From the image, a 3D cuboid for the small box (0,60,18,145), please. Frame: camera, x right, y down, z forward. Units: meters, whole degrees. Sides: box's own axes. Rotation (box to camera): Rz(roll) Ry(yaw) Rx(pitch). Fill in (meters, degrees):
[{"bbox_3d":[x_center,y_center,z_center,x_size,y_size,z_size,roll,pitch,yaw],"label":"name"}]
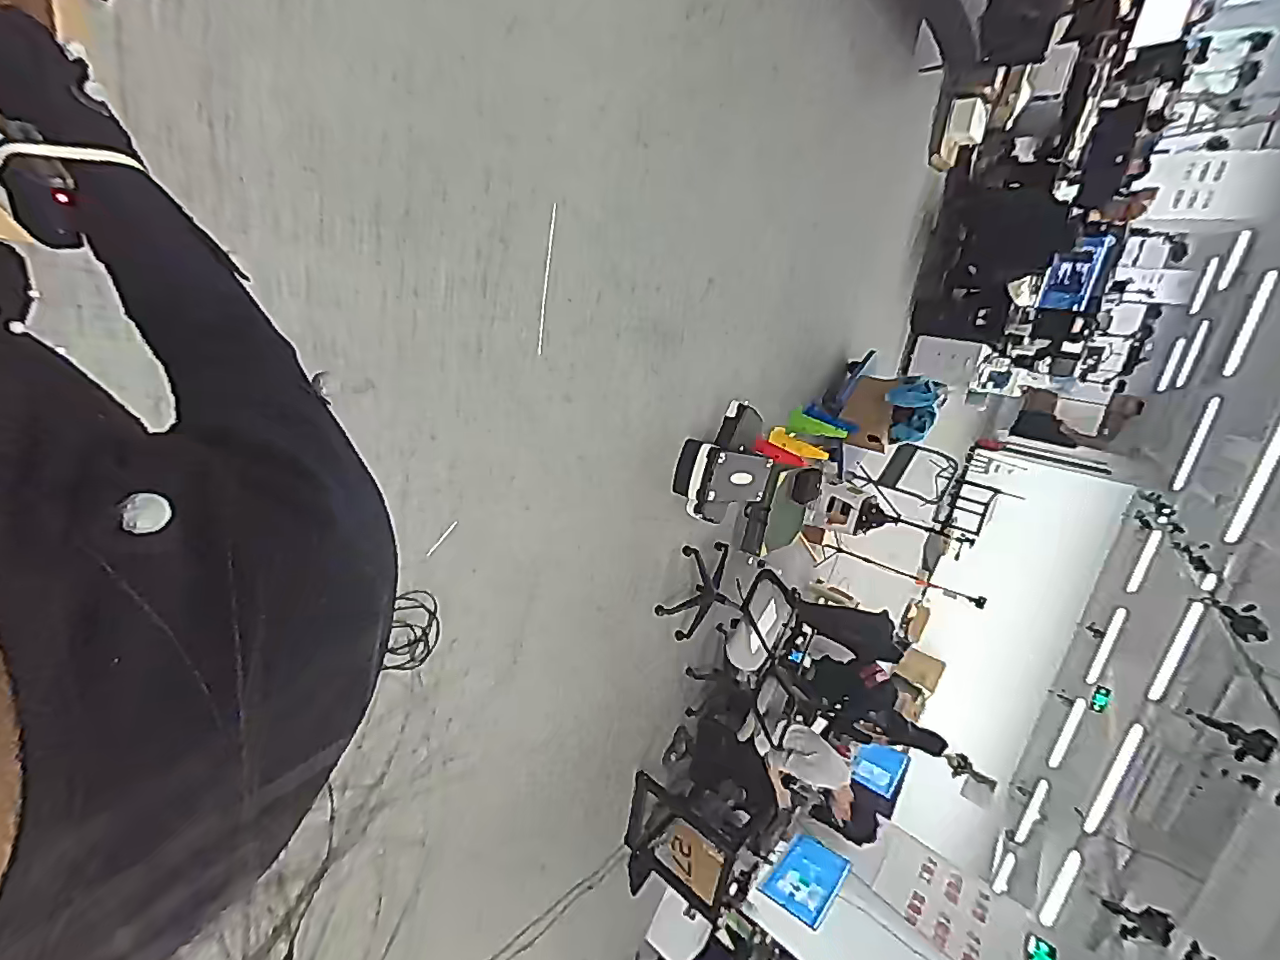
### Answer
[{"bbox_3d":[-0.620,-0.359,0.400,0.179,0.176,0.168,-17,118,-47],"label":"small box"}]
